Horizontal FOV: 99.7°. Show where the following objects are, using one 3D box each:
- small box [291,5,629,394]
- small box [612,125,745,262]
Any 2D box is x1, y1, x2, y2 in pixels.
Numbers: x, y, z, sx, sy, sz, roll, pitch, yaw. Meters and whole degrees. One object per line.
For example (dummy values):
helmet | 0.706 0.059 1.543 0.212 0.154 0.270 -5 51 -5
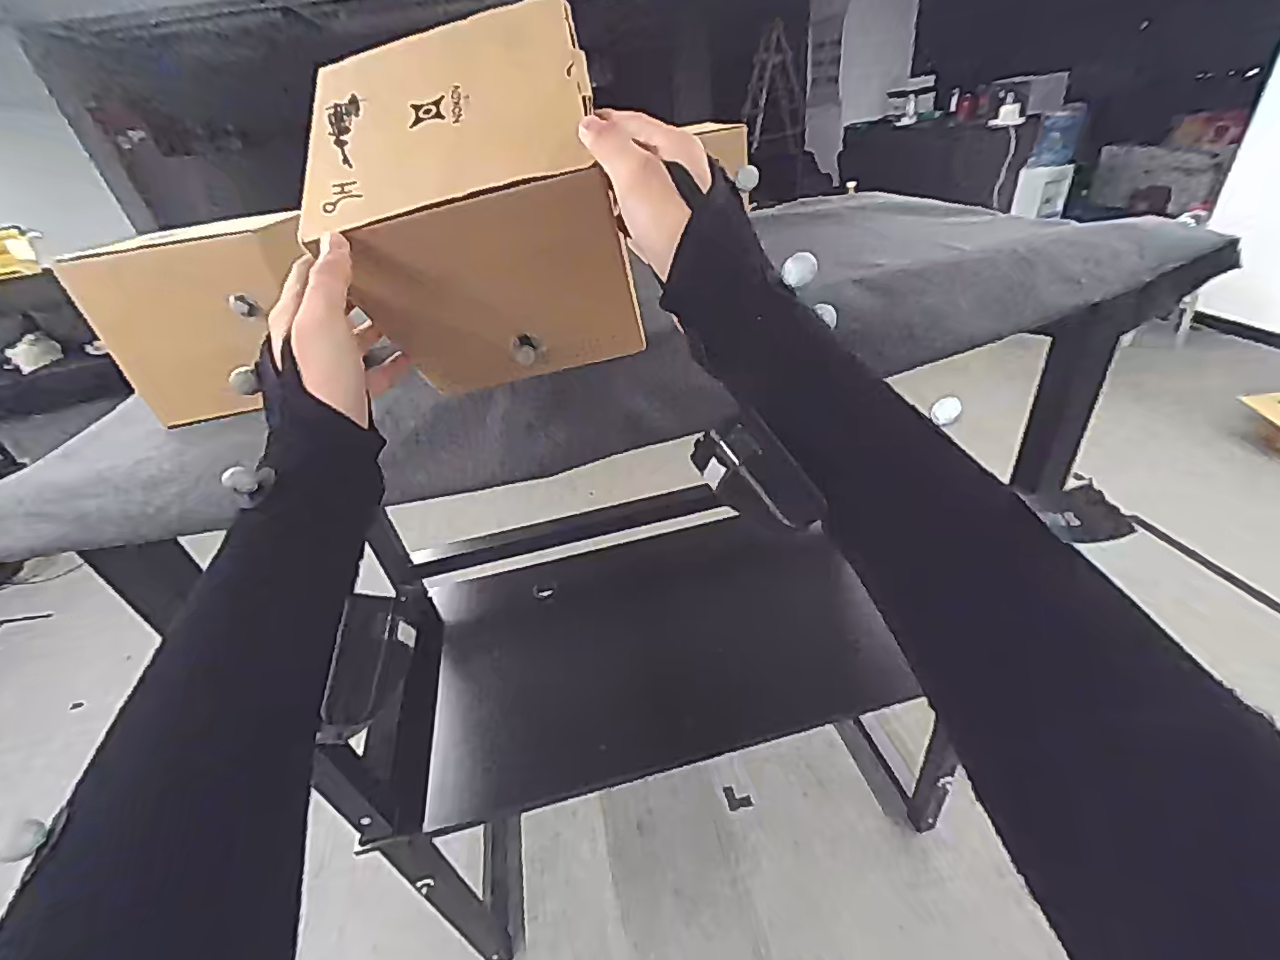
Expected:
small box | -0.109 -0.187 0.398 0.179 0.176 0.168 -12 65 5
small box | 0.064 -0.472 0.892 0.179 0.176 0.168 -14 36 -6
